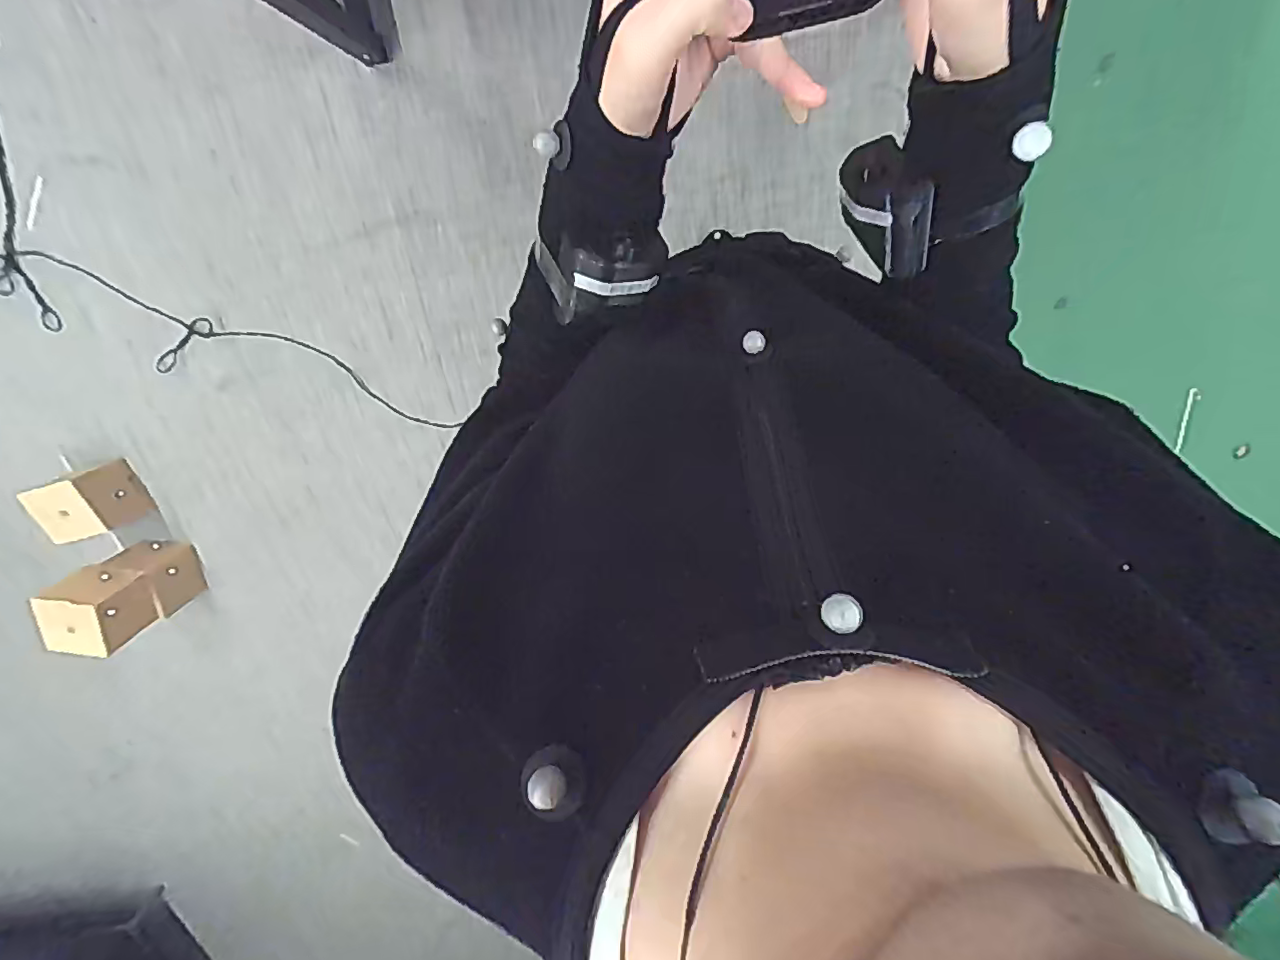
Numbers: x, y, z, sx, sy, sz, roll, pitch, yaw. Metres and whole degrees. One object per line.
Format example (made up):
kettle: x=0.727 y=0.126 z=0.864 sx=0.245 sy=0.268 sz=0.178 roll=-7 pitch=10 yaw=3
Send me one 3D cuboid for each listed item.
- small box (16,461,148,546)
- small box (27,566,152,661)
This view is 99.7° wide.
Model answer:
small box: x=-1.571 y=0.062 z=1.542 sx=0.179 sy=0.176 sz=0.168 roll=-13 pitch=112 yaw=7
small box: x=-1.509 y=0.366 z=1.498 sx=0.168 sy=0.176 sz=0.179 roll=9 pitch=112 yaw=-2
